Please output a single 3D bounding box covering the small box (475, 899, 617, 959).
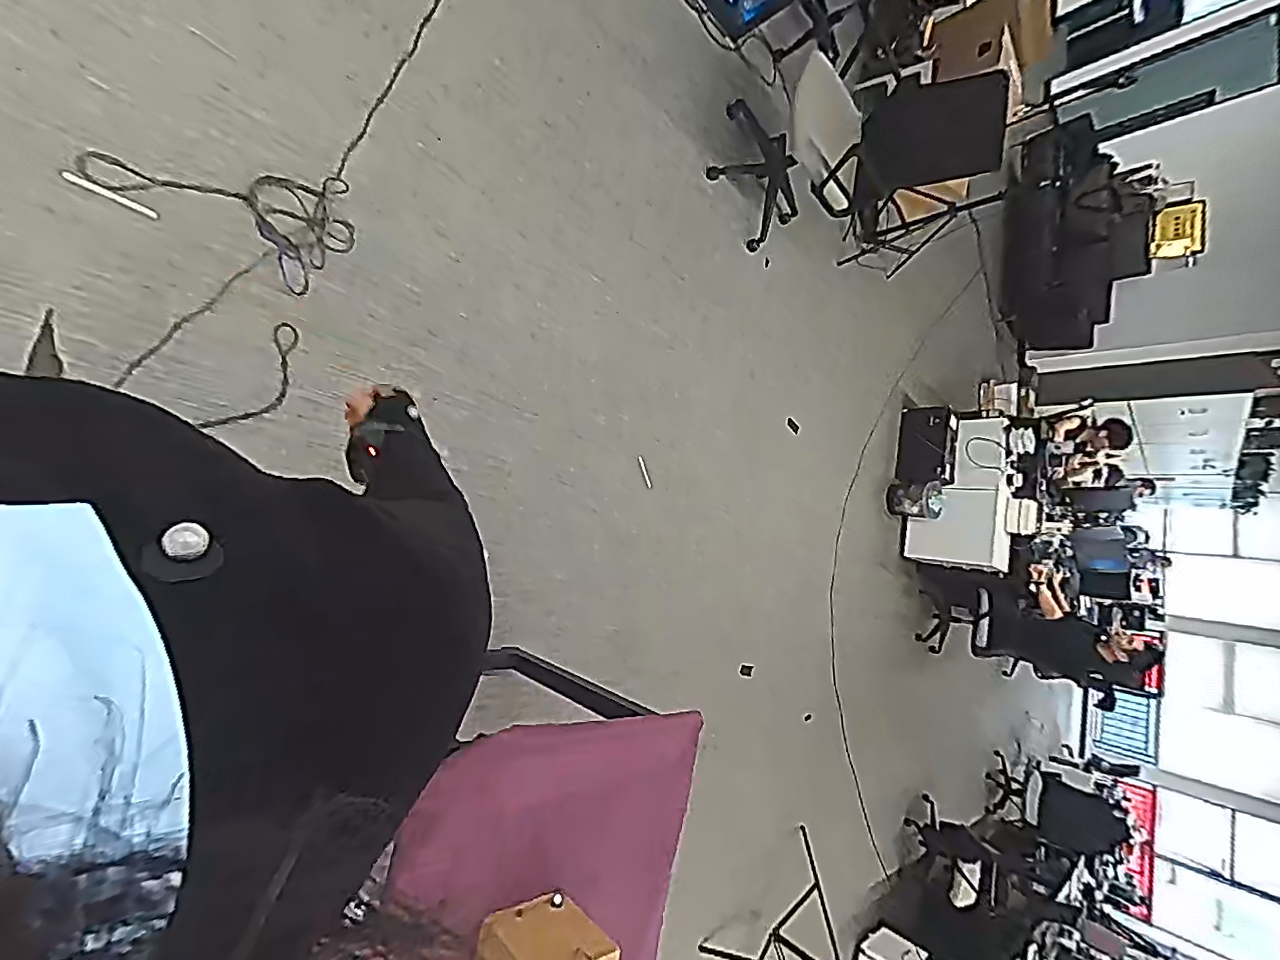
[{"bbox_3d":[-0.166,0.824,0.874,0.168,0.176,0.179,19,79,-42],"label":"small box"}]
